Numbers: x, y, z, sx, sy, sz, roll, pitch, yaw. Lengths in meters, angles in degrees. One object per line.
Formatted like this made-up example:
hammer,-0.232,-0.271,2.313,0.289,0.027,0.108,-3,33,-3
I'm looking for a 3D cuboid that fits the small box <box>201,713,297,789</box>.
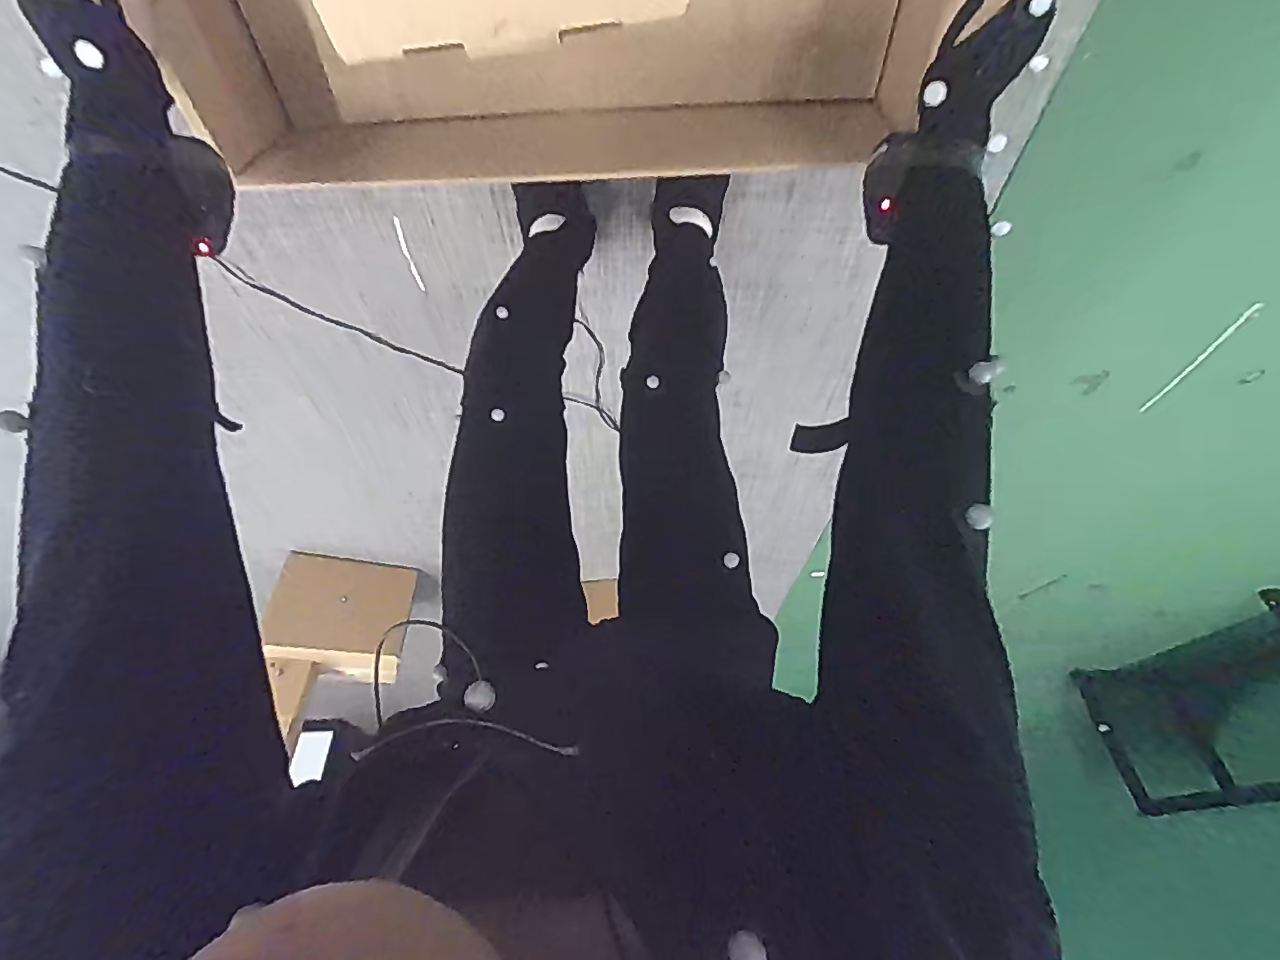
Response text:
small box,-1.123,0.790,1.571,0.168,0.176,0.179,10,142,-17
